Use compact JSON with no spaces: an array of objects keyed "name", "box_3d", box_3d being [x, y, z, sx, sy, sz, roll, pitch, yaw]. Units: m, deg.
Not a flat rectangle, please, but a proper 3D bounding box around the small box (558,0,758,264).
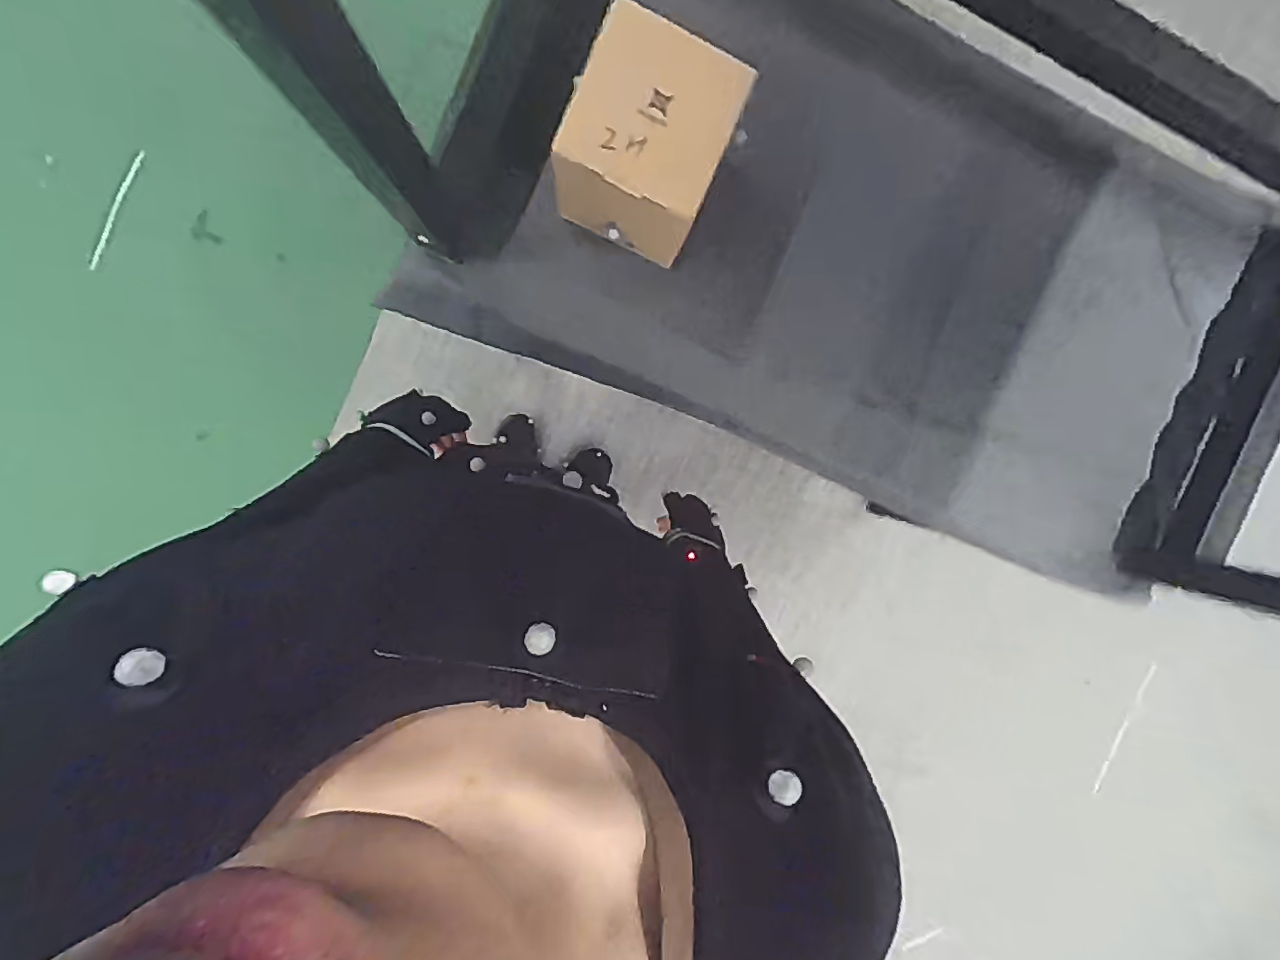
[{"name":"small box","box_3d":[0.012,-0.395,0.648,0.168,0.176,0.179,24,92,-7]}]
